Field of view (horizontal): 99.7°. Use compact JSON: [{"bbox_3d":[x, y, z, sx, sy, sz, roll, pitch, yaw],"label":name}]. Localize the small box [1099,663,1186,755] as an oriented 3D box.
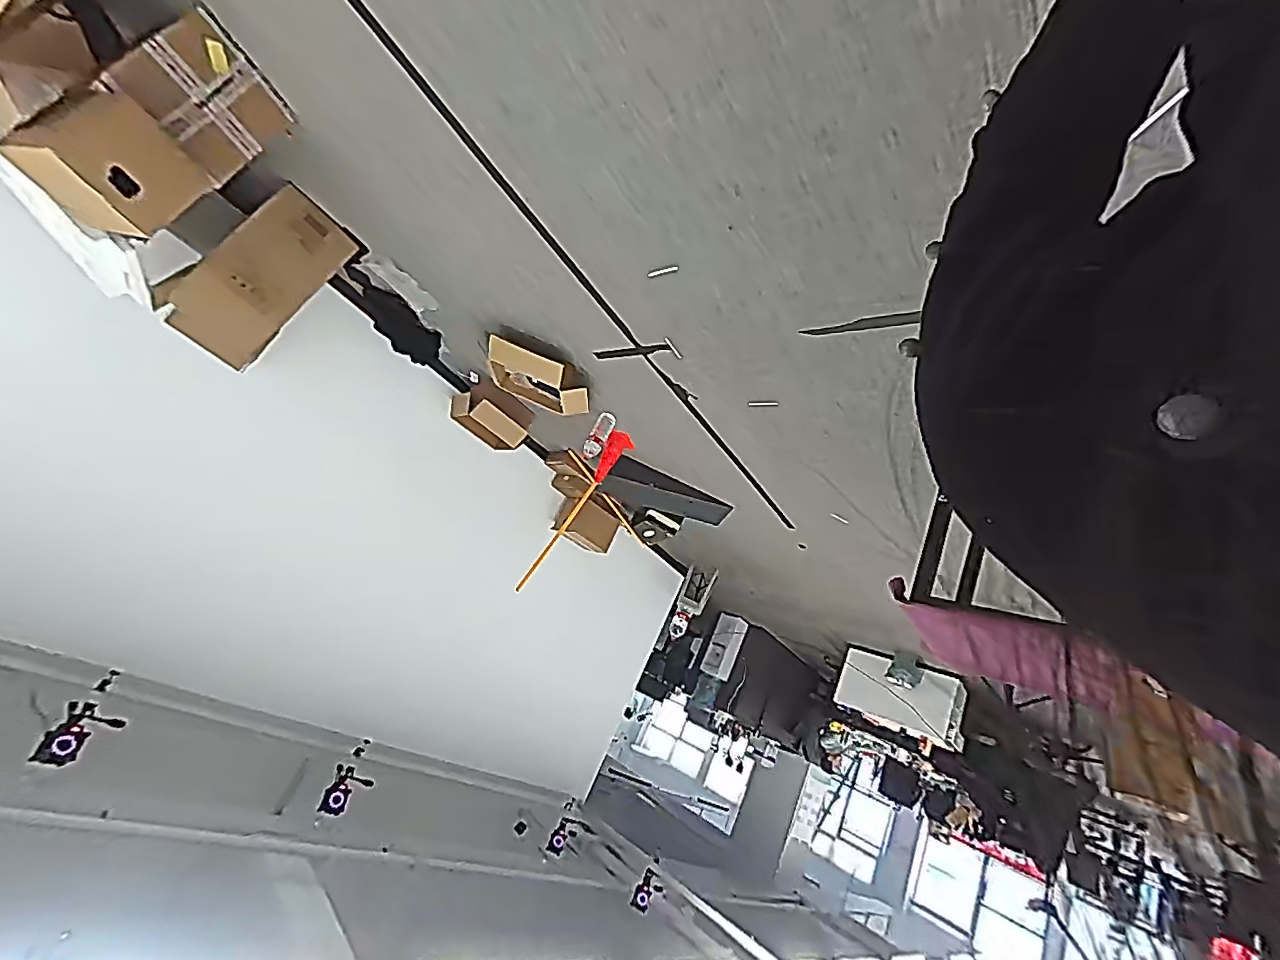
[{"bbox_3d":[1.418,0.643,1.528,0.168,0.176,0.179,6,152,42],"label":"small box"}]
